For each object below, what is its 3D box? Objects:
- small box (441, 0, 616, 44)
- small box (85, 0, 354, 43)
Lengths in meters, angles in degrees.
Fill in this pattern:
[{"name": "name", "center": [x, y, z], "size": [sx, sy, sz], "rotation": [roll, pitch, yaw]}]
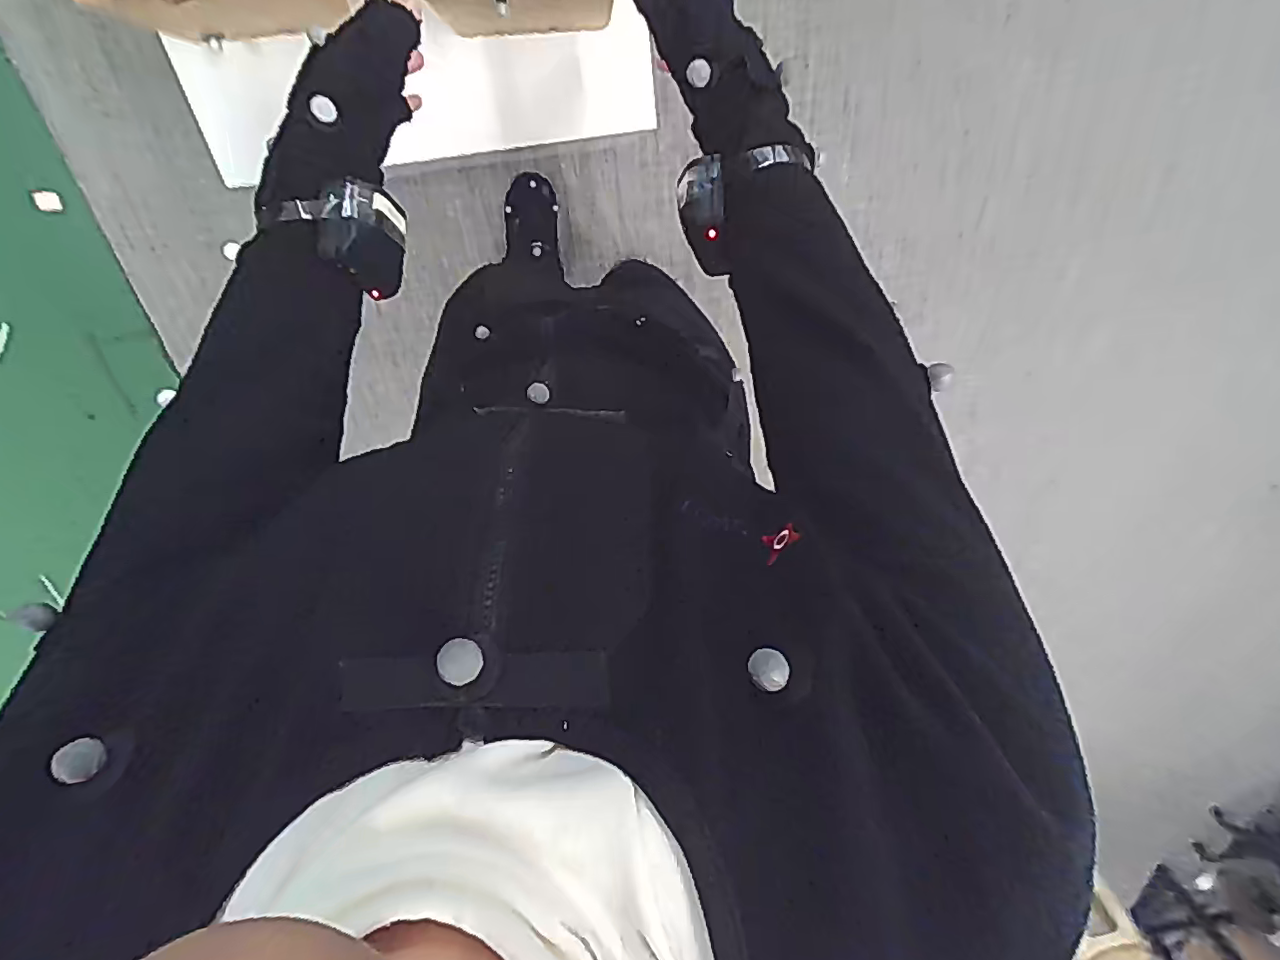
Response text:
[{"name": "small box", "center": [-0.110, -0.519, 0.480], "size": [0.168, 0.176, 0.179], "rotation": [-5, 119, -2]}, {"name": "small box", "center": [-0.378, -0.501, 0.463], "size": [0.168, 0.176, 0.179], "rotation": [-8, 119, -2]}]
